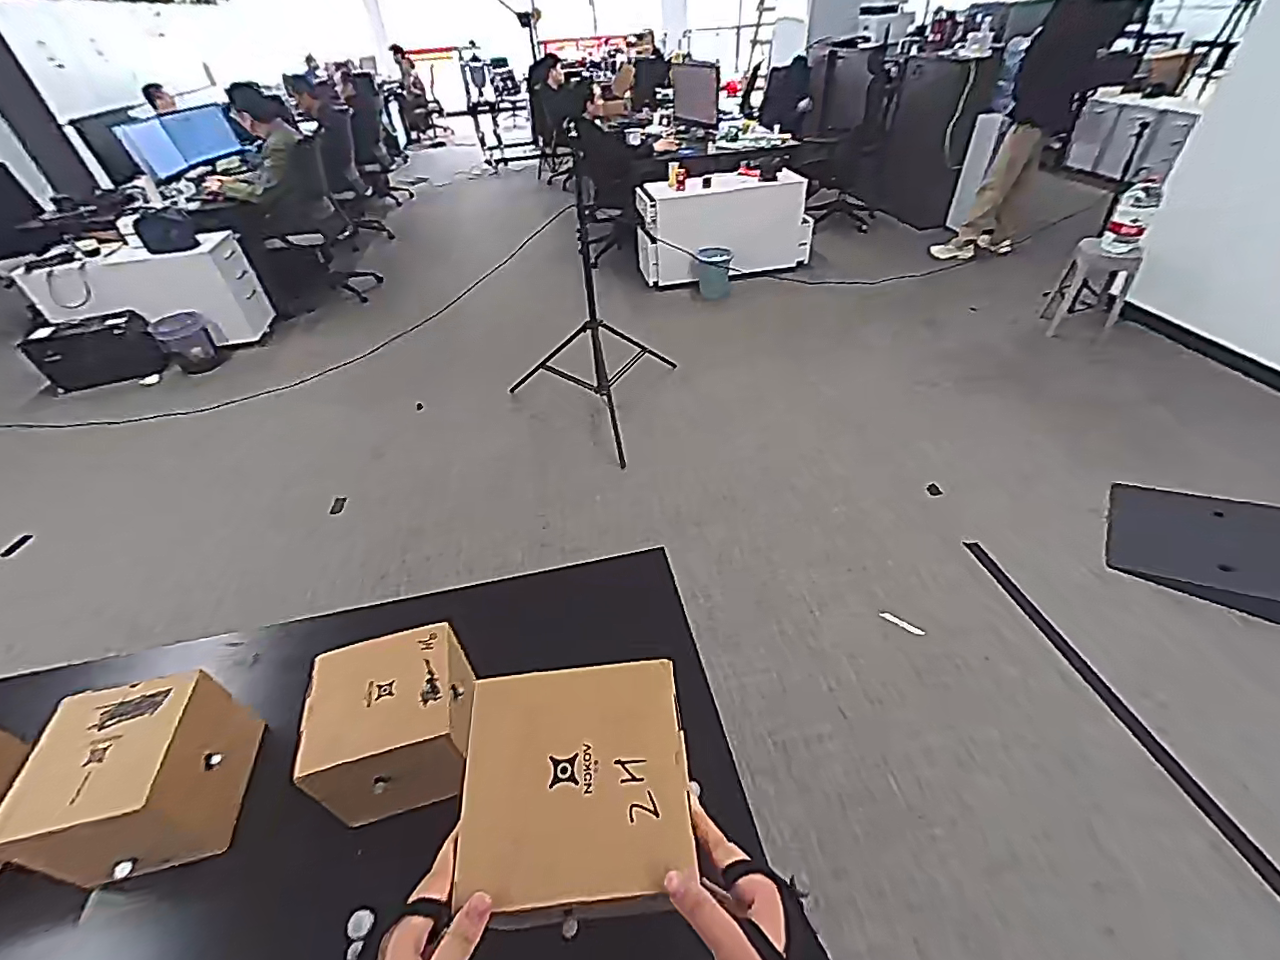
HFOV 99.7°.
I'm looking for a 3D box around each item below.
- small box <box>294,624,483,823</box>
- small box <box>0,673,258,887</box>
[{"bbox_3d":[-0.327,0.332,0.737,0.179,0.176,0.168,-14,42,-10],"label":"small box"},{"bbox_3d":[-0.639,0.386,0.701,0.168,0.176,0.179,-11,42,-8],"label":"small box"}]
